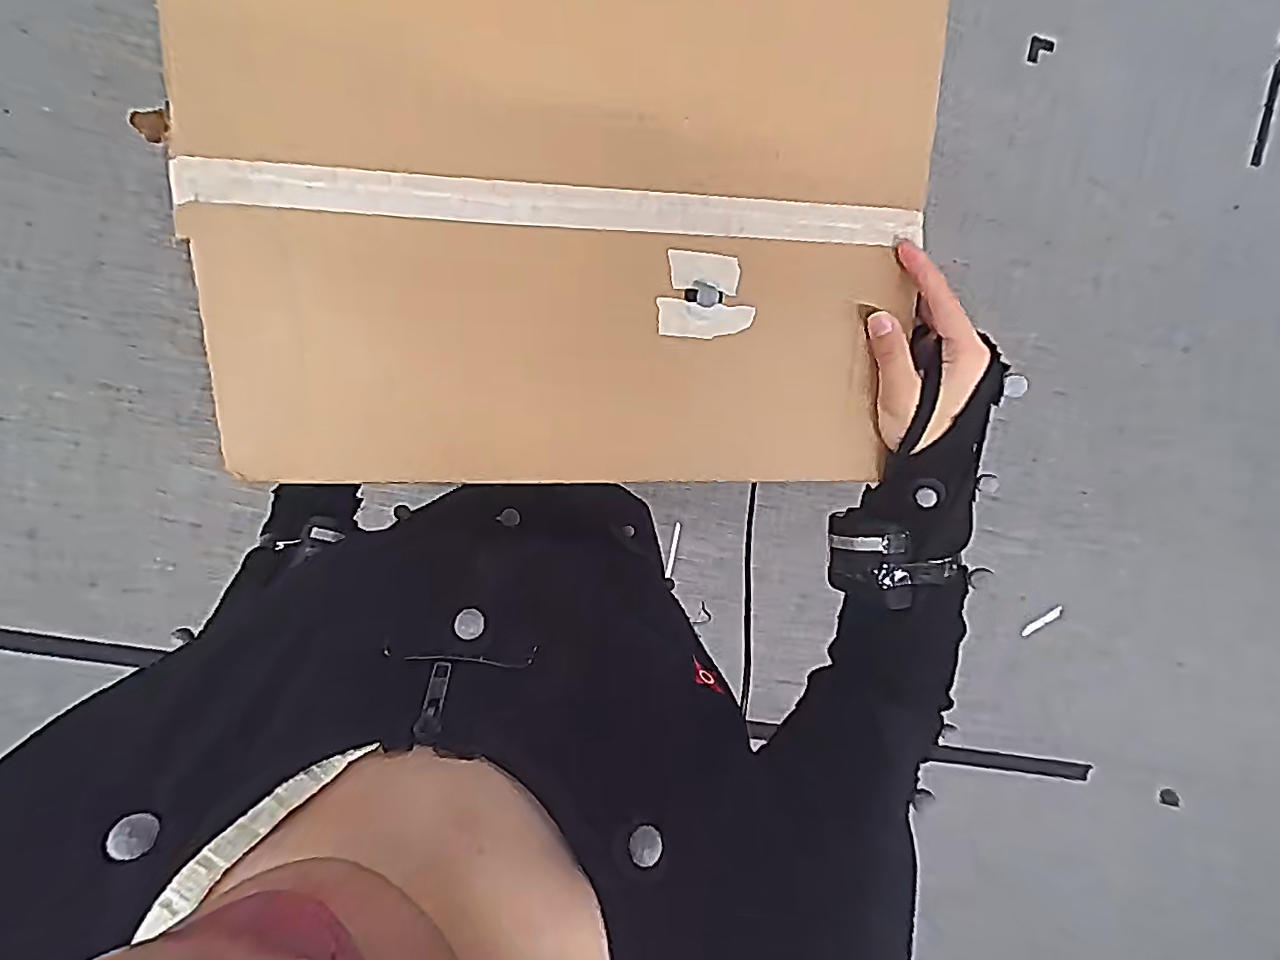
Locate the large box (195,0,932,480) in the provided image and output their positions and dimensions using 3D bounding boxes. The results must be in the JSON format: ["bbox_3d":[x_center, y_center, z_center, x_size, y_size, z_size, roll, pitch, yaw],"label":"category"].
[{"bbox_3d":[-0.050,-0.185,0.457,0.408,0.320,0.320,0,103,-10],"label":"large box"}]
